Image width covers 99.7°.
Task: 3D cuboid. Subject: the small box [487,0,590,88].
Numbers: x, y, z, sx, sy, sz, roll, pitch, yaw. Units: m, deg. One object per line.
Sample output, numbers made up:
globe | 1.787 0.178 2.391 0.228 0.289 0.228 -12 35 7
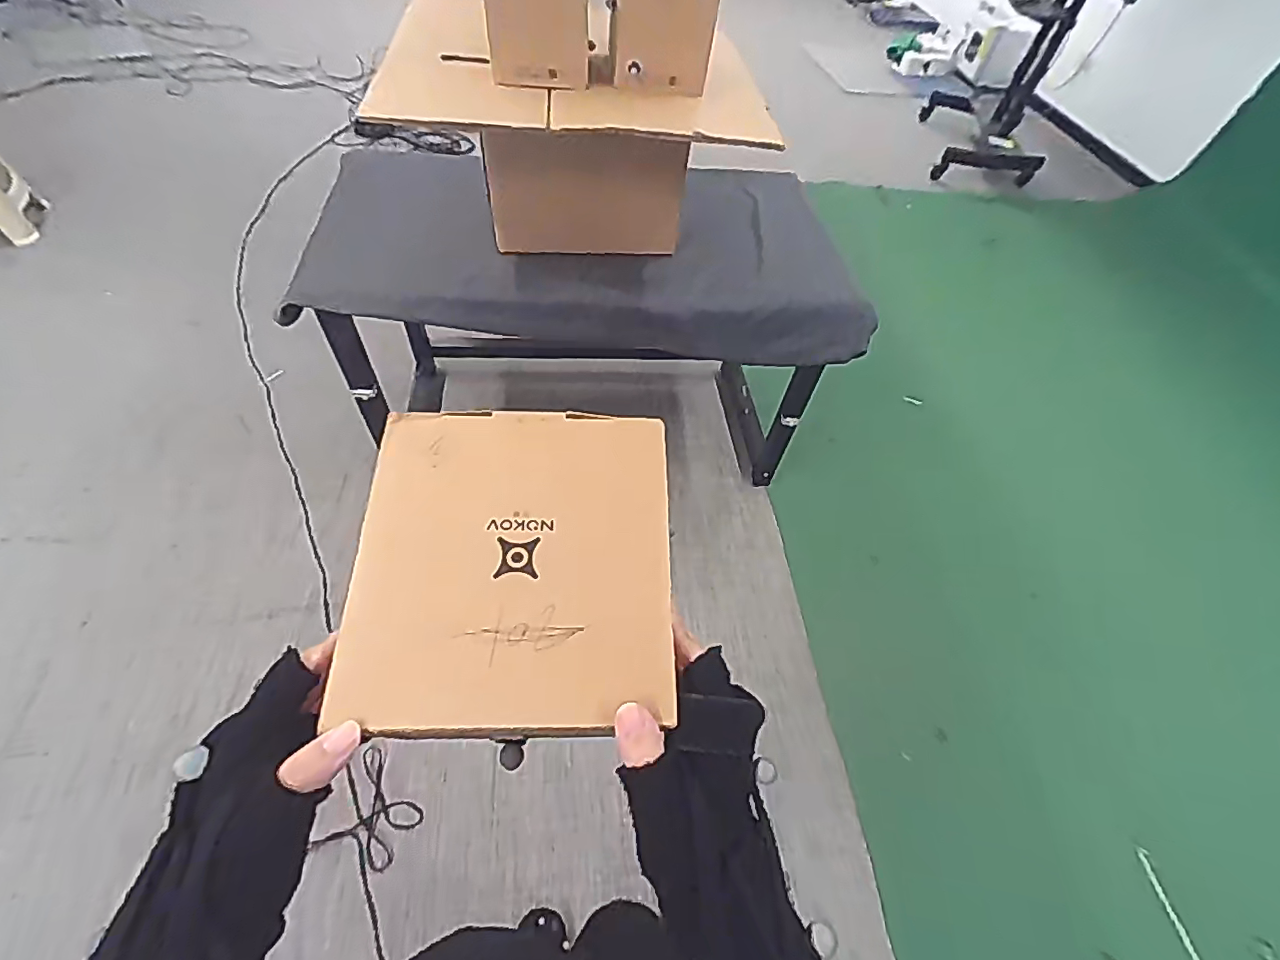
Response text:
small box | -0.170 -0.805 0.928 0.168 0.176 0.179 -2 54 -6

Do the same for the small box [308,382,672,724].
small box | -0.073 0.059 0.352 0.168 0.176 0.179 1 64 -4
